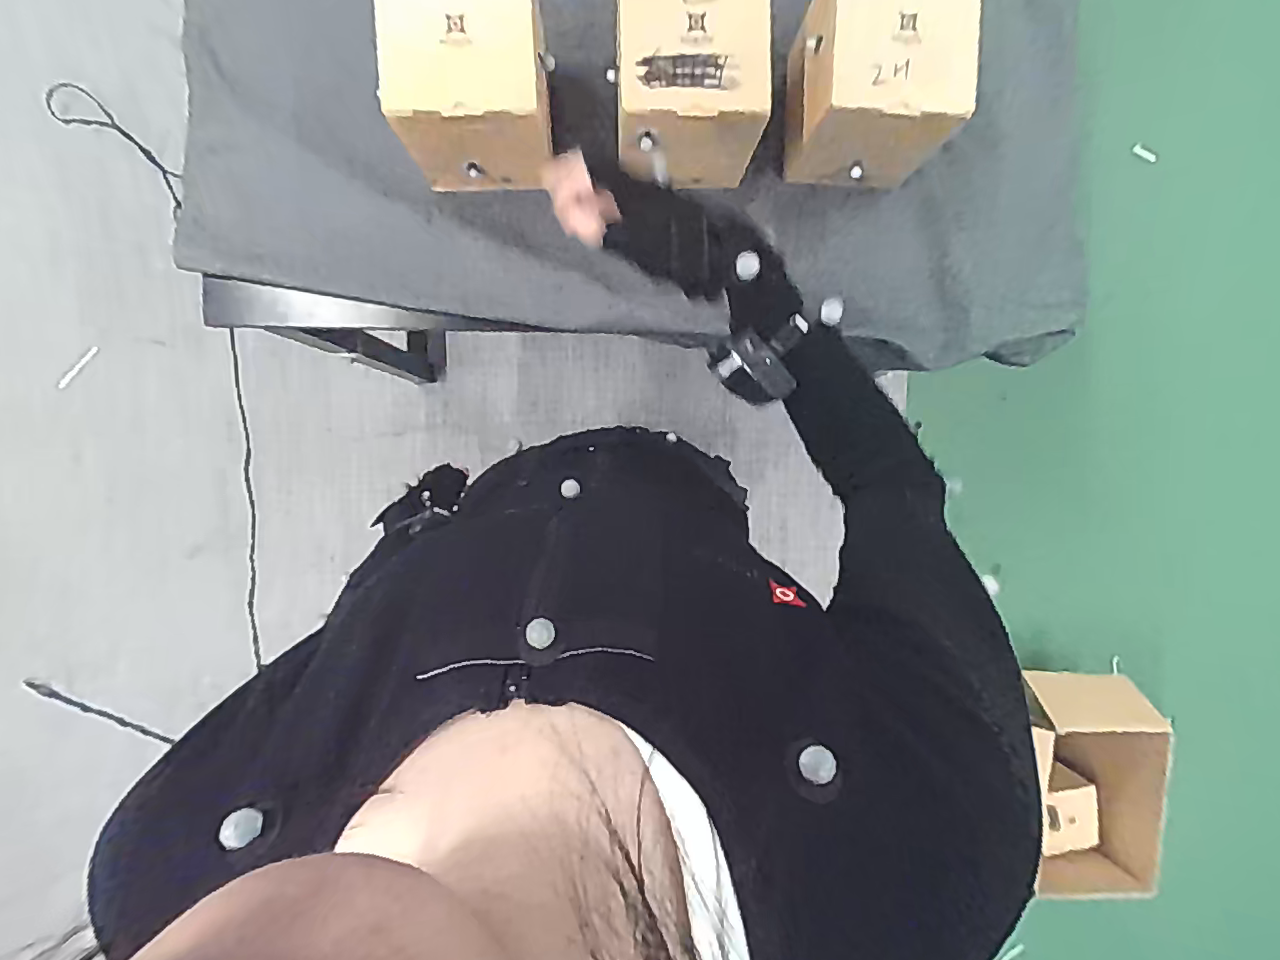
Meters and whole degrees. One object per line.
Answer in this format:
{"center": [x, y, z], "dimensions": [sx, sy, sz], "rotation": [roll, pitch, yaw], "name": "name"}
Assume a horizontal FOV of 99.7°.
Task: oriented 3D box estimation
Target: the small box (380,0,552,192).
{"center": [-0.200, -0.482, 0.661], "dimensions": [0.168, 0.176, 0.179], "rotation": [-3, 93, -4], "name": "small box"}
